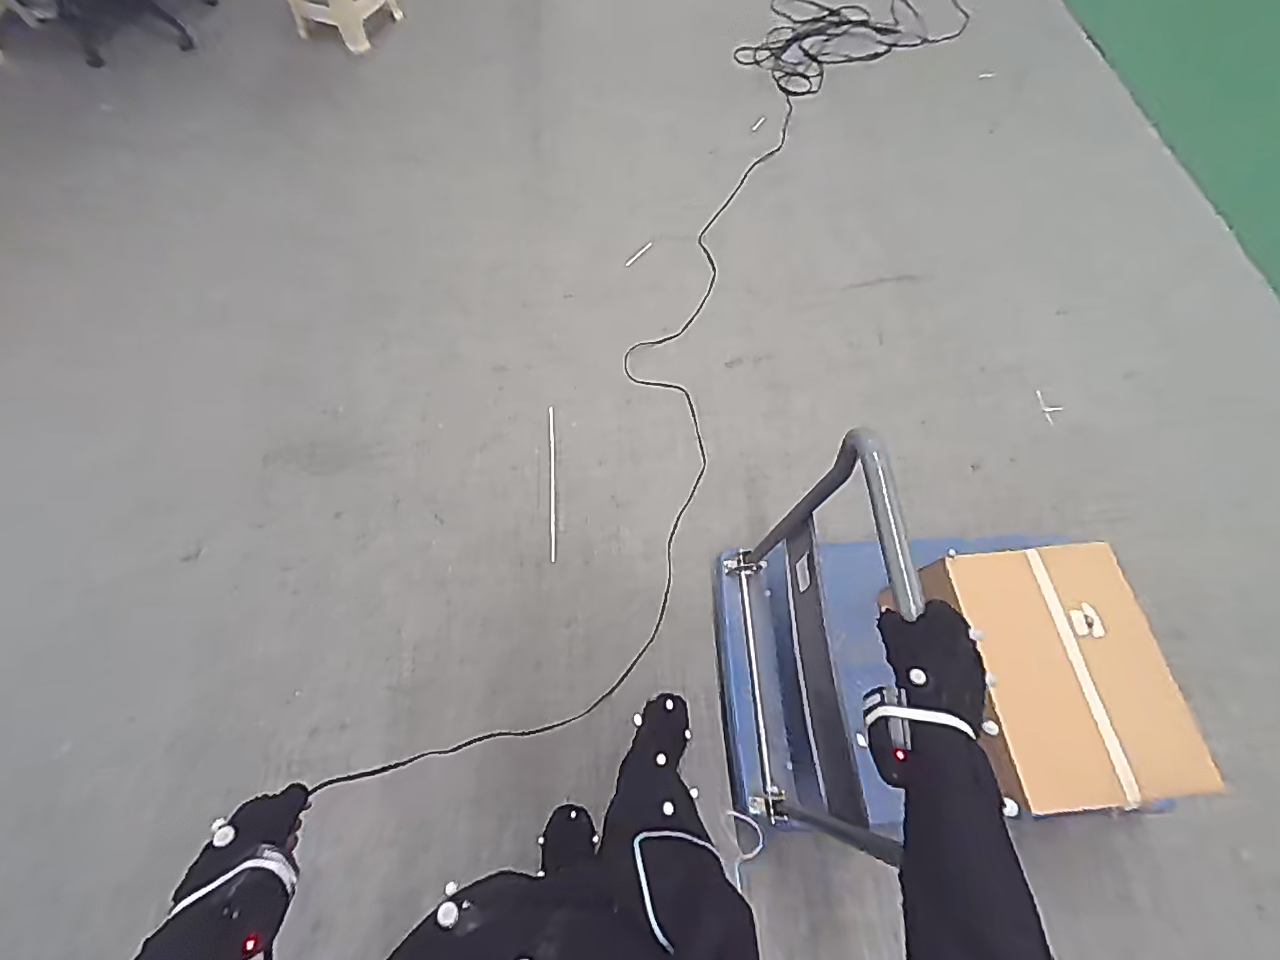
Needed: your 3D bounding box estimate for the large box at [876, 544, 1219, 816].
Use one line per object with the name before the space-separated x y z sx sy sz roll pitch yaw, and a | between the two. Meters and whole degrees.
large box | 0.707 0.372 1.028 0.320 0.320 0.408 -4 65 -4
